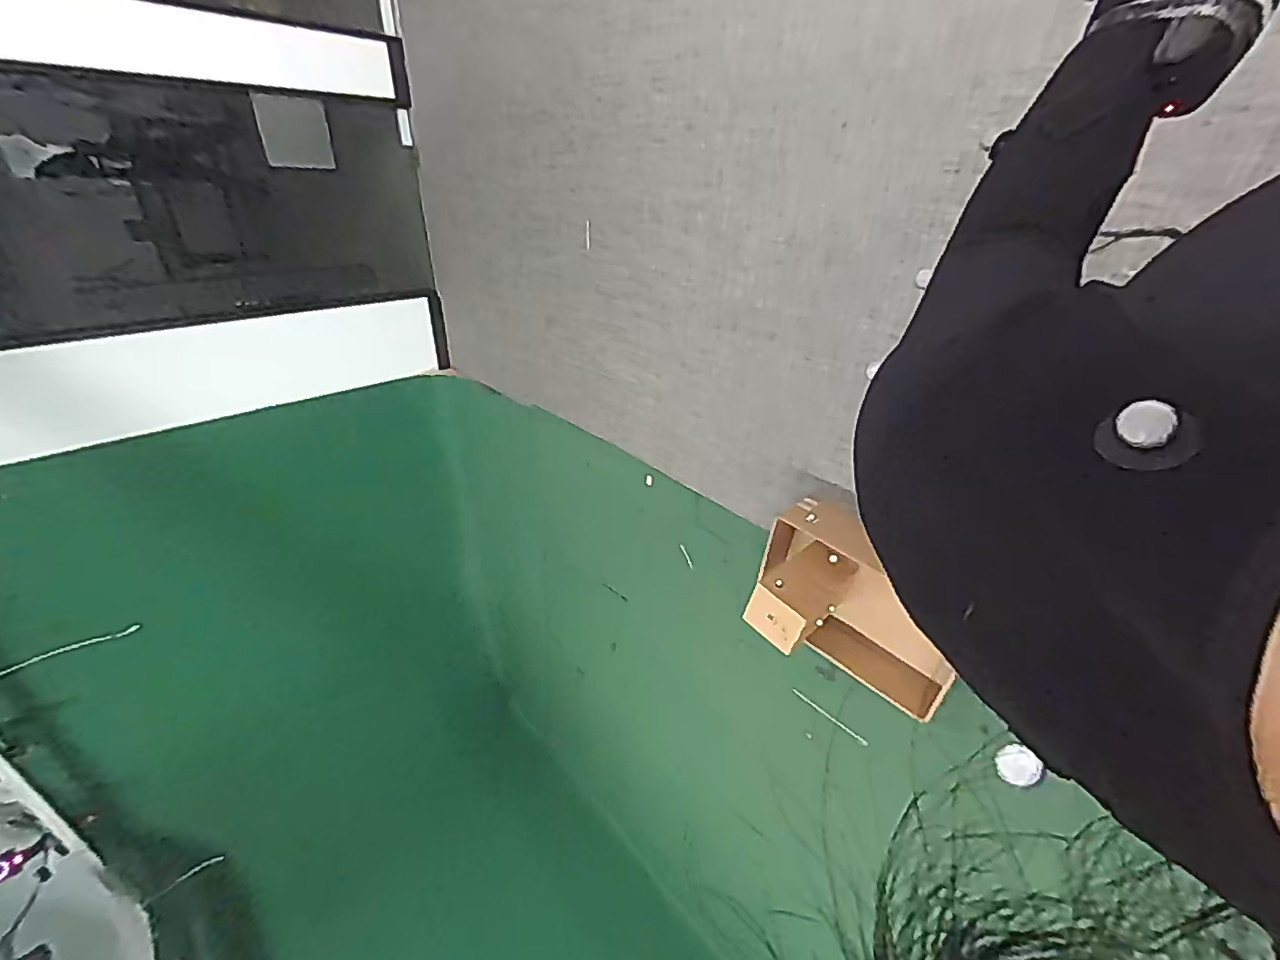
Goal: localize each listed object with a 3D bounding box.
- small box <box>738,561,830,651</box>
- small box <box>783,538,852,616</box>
[{"bbox_3d":[0.432,0.367,1.623,0.179,0.176,0.168,37,133,30],"label":"small box"},{"bbox_3d":[0.548,0.318,1.728,0.168,0.176,0.179,37,132,30],"label":"small box"}]
